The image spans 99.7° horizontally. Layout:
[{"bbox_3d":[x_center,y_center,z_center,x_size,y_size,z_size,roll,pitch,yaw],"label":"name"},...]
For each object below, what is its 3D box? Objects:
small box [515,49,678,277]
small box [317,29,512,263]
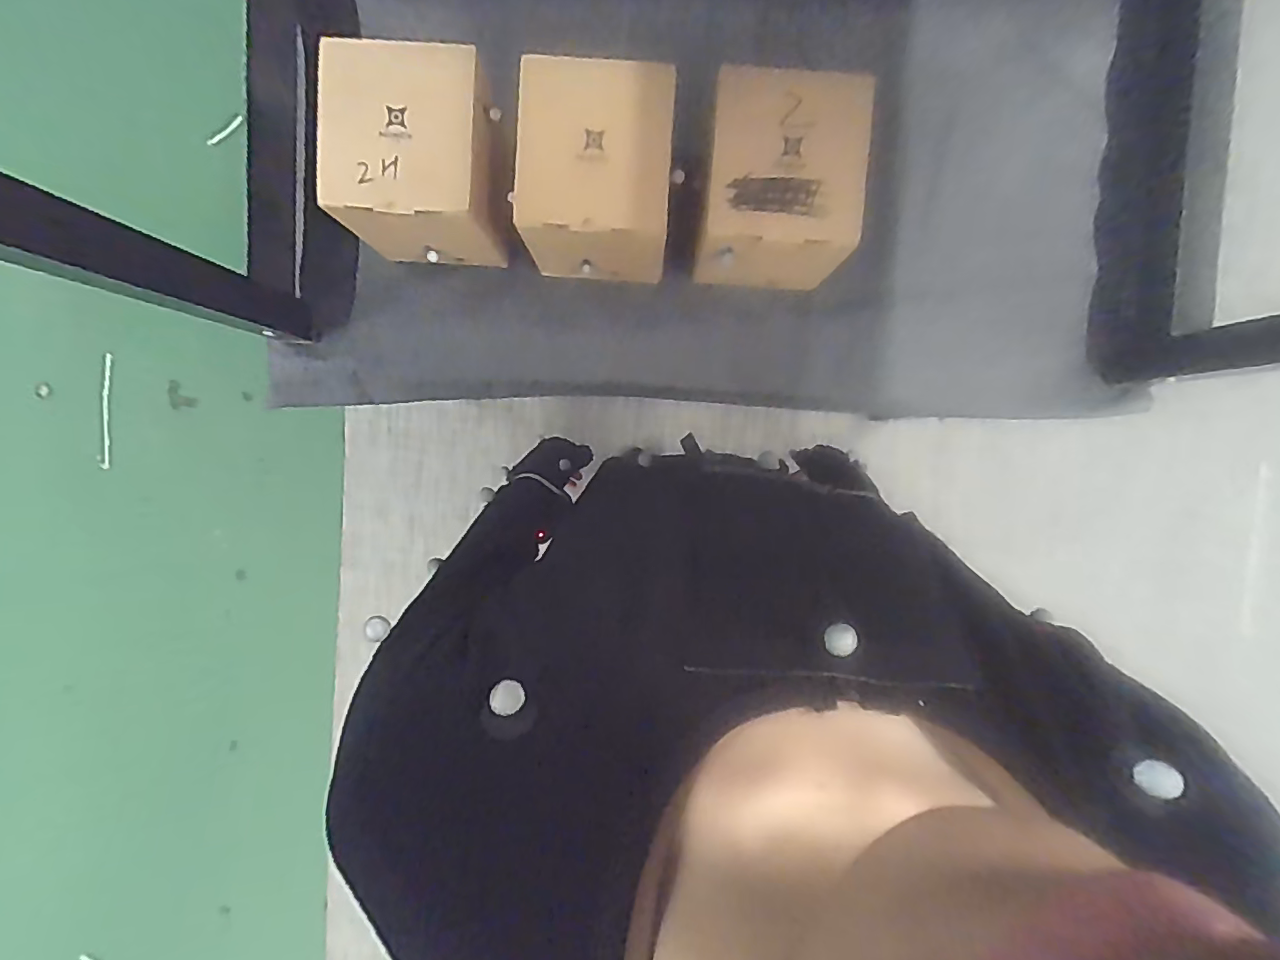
[{"bbox_3d":[-0.048,-0.365,0.652,0.168,0.176,0.179,3,94,-1],"label":"small box"},{"bbox_3d":[-0.255,-0.383,0.649,0.168,0.176,0.179,3,93,0],"label":"small box"}]
